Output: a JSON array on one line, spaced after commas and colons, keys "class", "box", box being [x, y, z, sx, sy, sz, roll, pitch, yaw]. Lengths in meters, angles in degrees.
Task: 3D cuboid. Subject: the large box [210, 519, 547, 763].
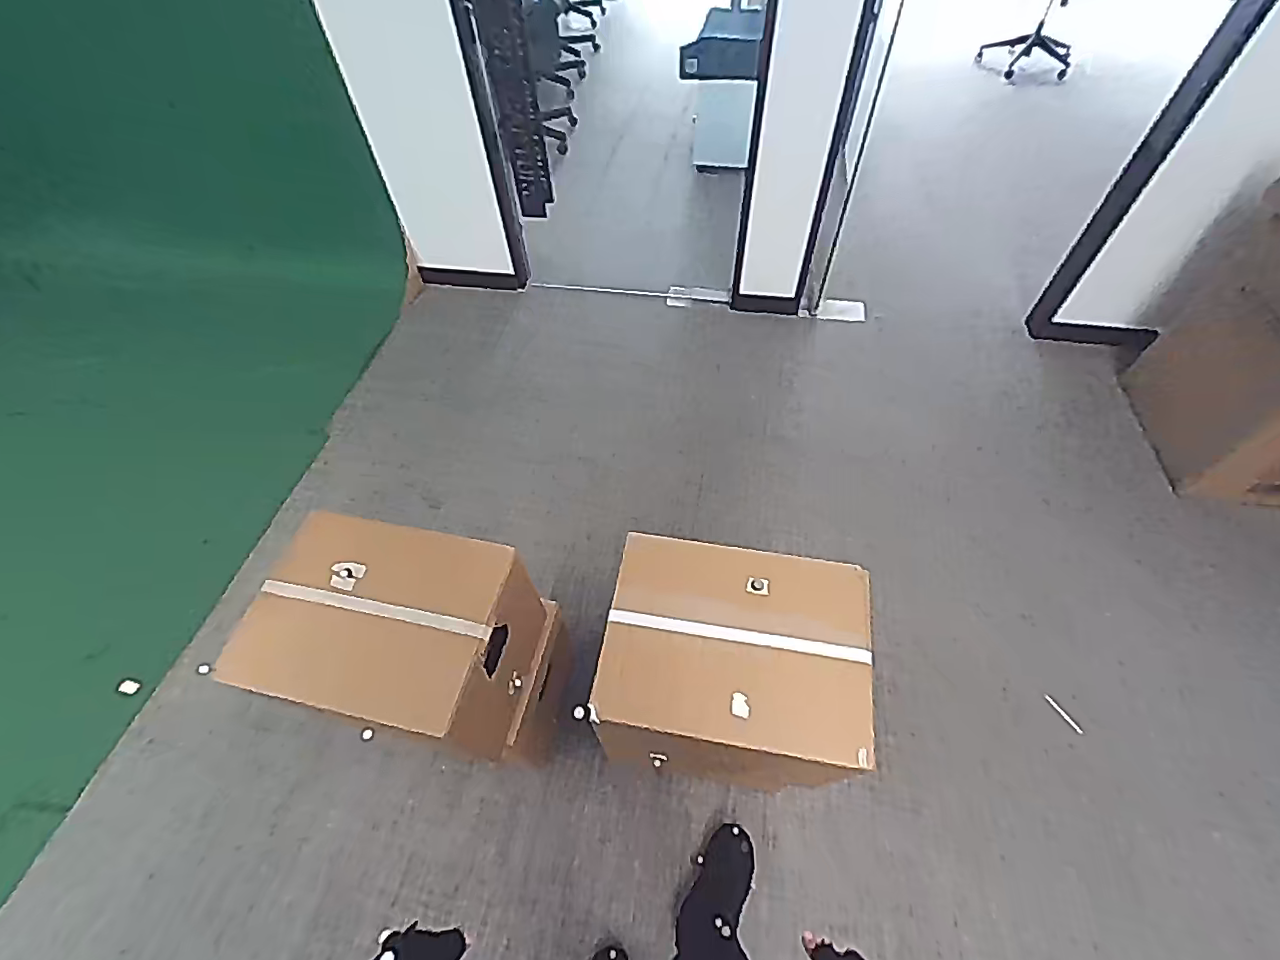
[{"class": "large box", "box": [-0.430, 0.304, 1.004, 0.408, 0.320, 0.320, 9, 56, 10]}]
